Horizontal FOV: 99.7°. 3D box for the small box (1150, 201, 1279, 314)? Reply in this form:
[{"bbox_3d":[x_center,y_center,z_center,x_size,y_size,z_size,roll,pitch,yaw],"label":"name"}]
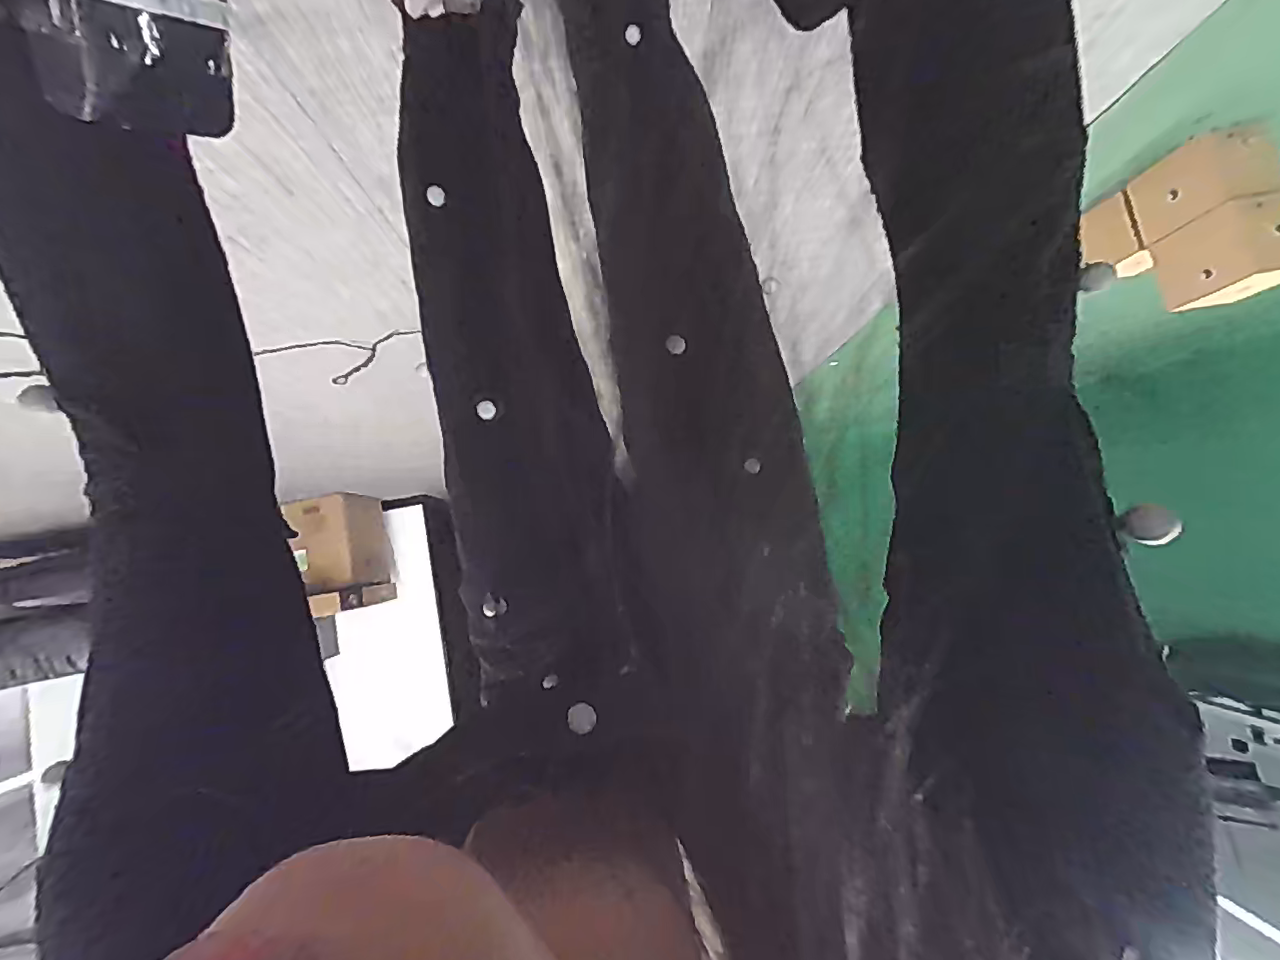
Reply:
[{"bbox_3d":[1.291,-0.491,1.190,0.168,0.176,0.179,-9,173,-5],"label":"small box"}]
